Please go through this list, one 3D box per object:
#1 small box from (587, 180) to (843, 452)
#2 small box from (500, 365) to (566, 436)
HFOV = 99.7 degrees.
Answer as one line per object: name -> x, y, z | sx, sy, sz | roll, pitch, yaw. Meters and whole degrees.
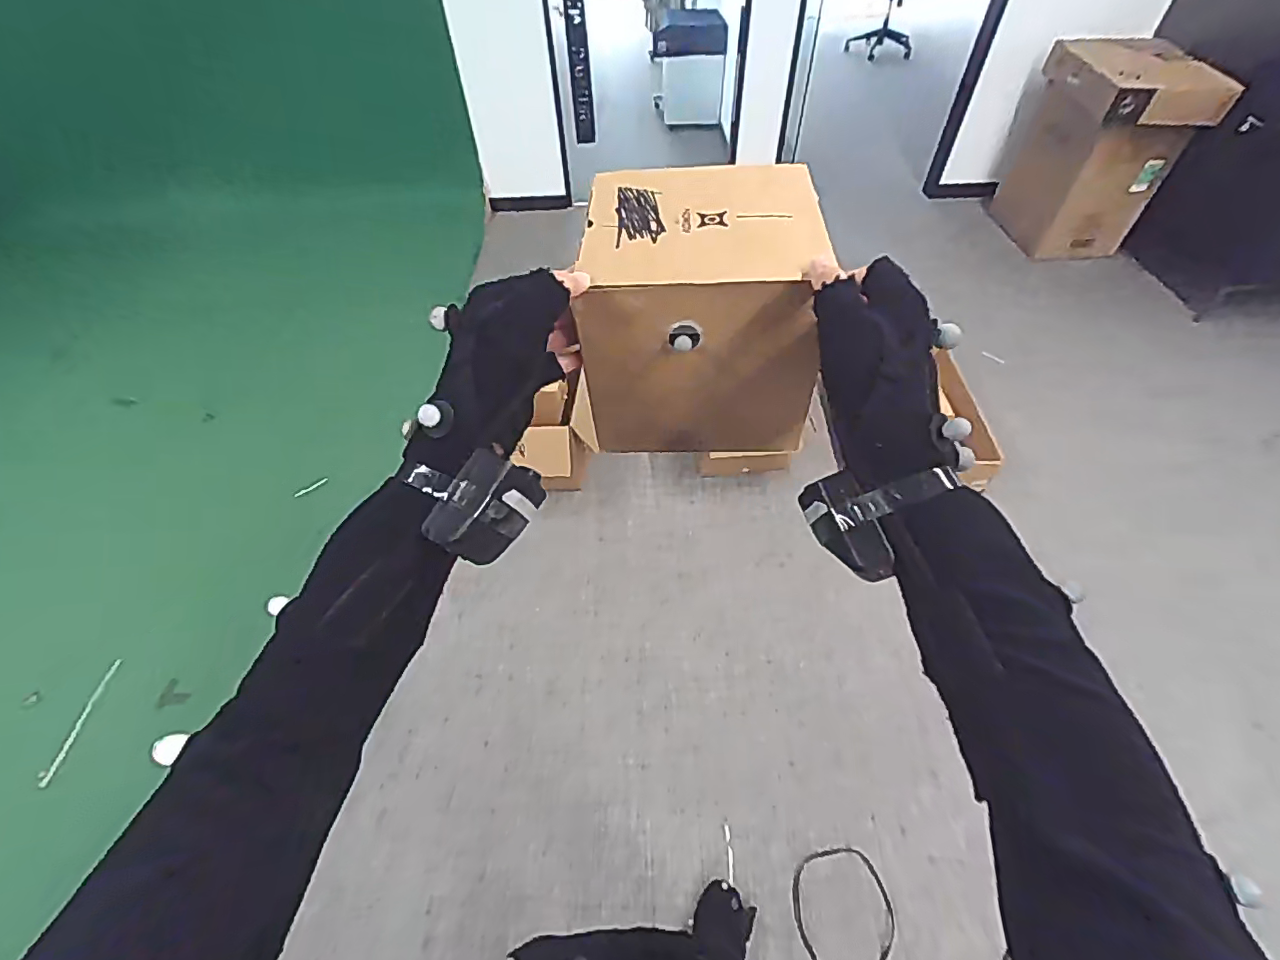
small box -> 0.058, -0.137, 0.473 | 0.179, 0.176, 0.168 | 0, 52, 4
small box -> -0.347, -0.261, 1.797 | 0.179, 0.176, 0.168 | 3, 49, 2
